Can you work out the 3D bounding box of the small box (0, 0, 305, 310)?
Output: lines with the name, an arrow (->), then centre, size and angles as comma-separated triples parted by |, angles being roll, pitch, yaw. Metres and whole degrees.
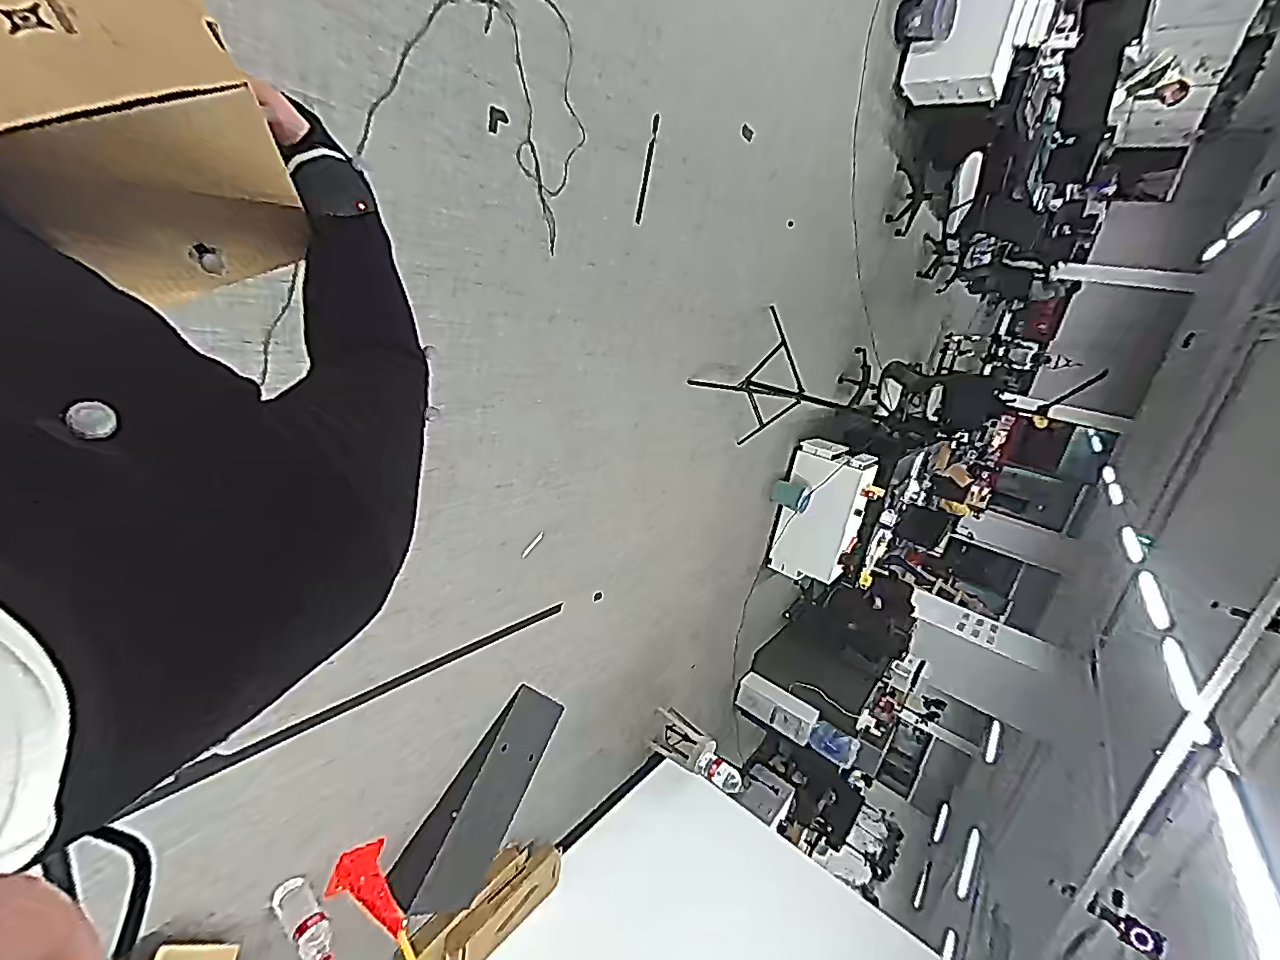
small box -> -0.405, -0.274, 0.437 | 0.179, 0.168, 0.176 | -32, 171, -23
